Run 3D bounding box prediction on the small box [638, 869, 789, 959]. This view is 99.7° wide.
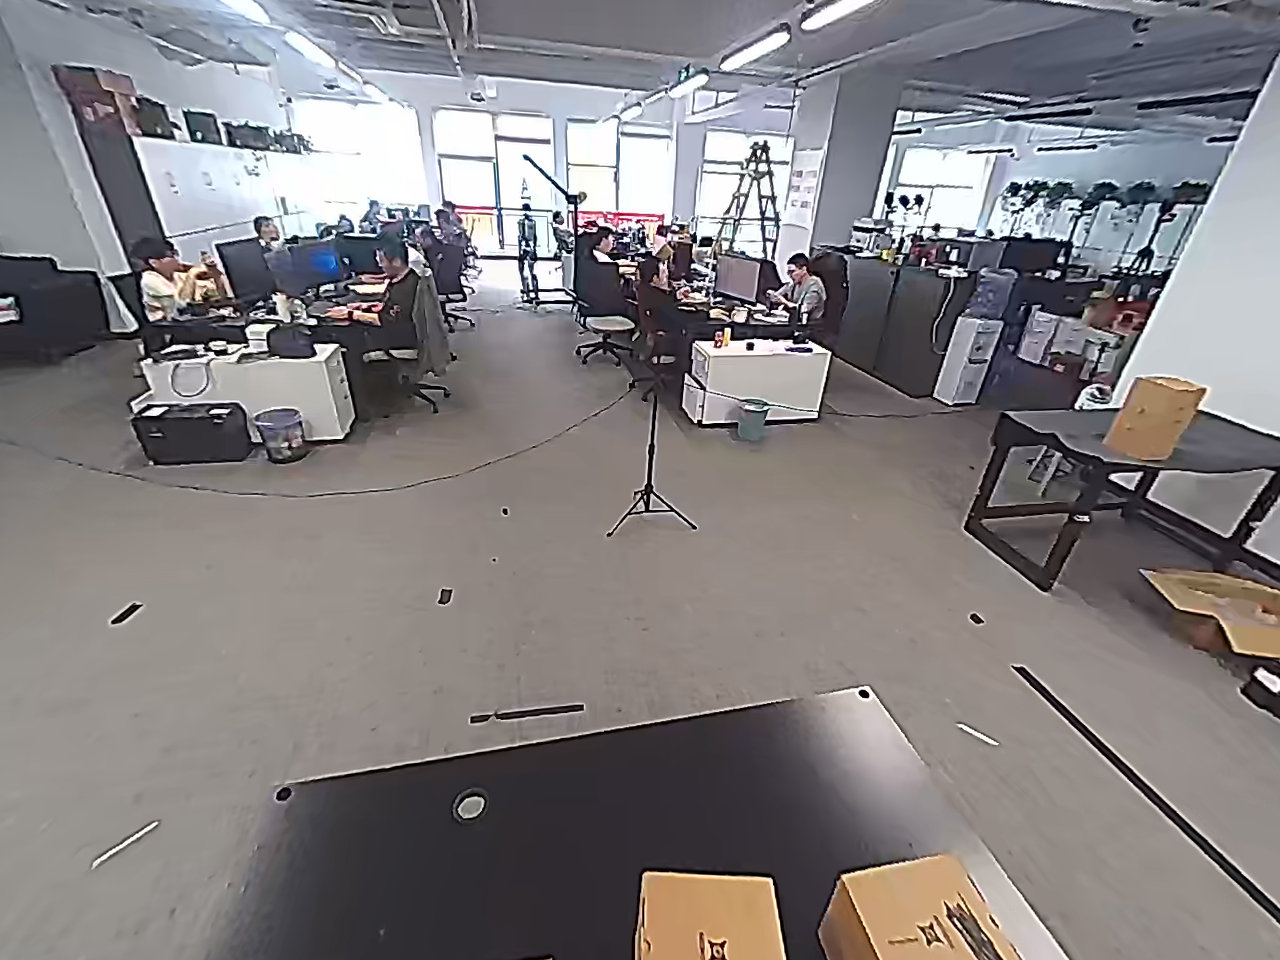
[{"bbox_3d":[0.087,0.629,0.683,0.179,0.176,0.168,2,28,0],"label":"small box"}]

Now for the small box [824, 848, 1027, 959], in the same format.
[{"bbox_3d":[0.366,0.625,0.707,0.179,0.176,0.168,-4,29,-10],"label":"small box"}]
